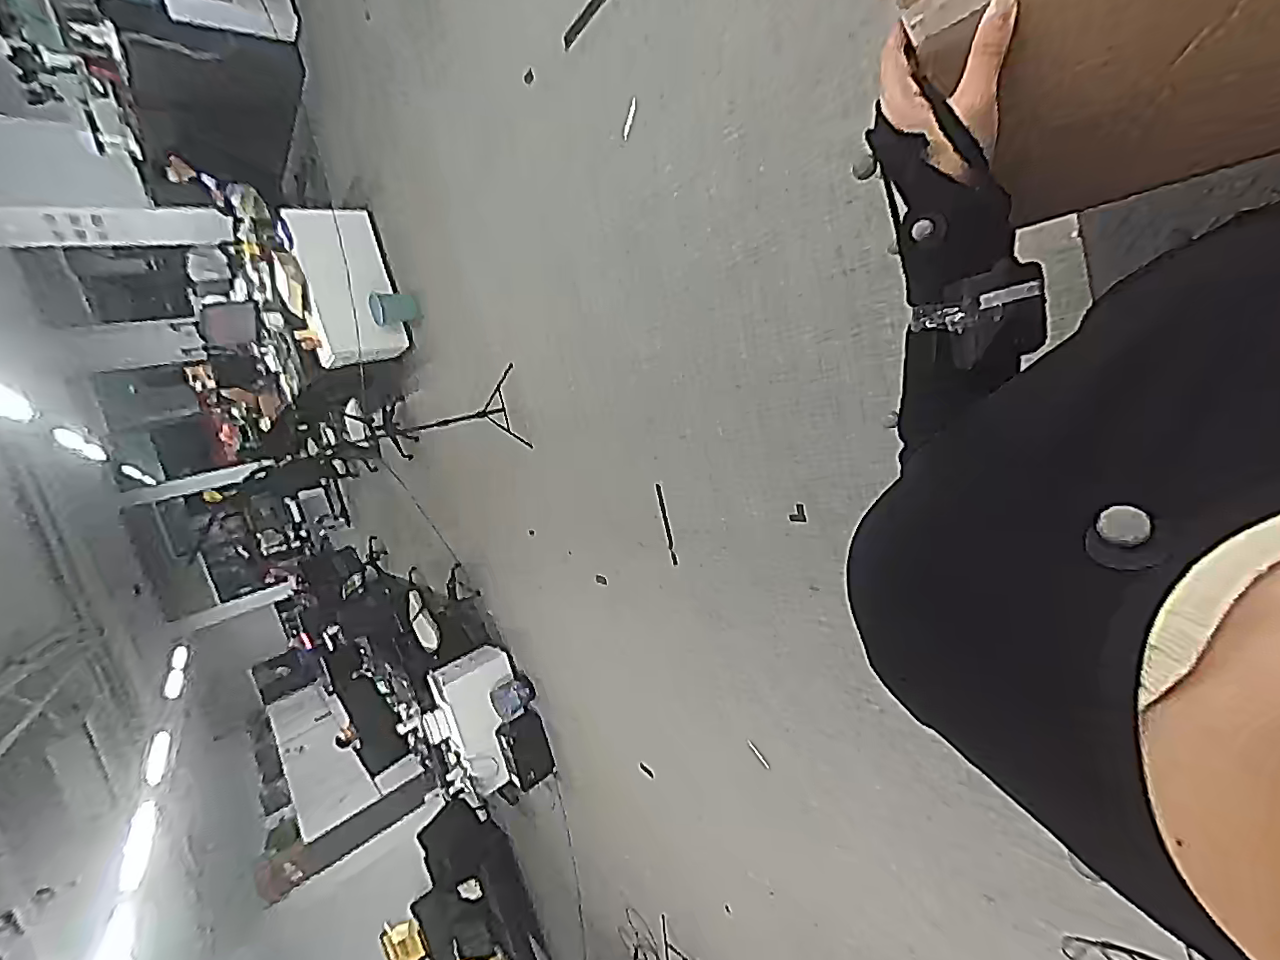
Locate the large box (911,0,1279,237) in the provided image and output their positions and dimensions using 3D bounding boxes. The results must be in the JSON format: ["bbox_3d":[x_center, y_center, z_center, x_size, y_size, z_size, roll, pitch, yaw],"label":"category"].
[{"bbox_3d":[0.378,-0.400,0.258,0.408,0.320,0.320,-1,139,49],"label":"large box"}]
